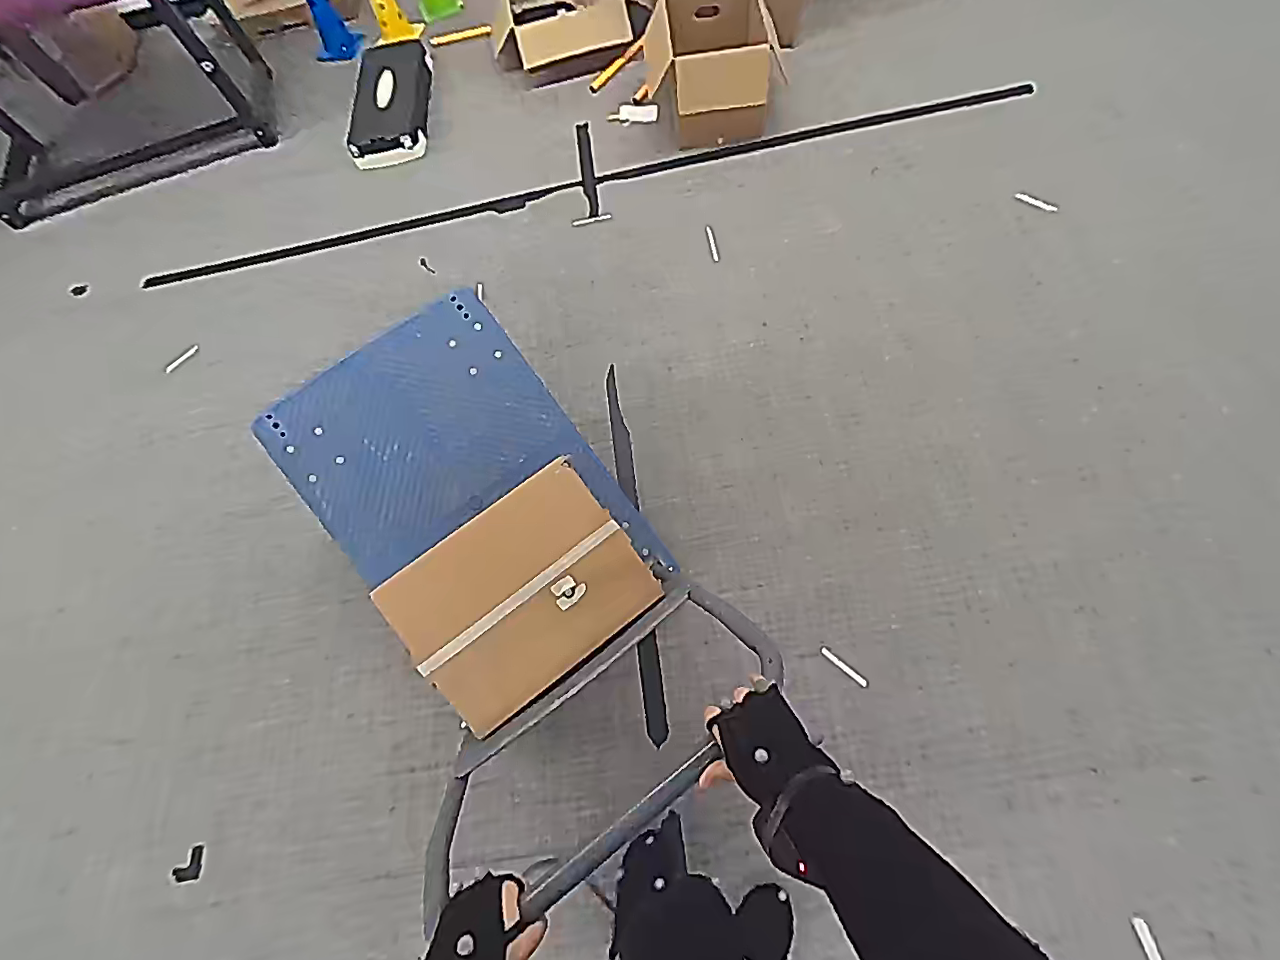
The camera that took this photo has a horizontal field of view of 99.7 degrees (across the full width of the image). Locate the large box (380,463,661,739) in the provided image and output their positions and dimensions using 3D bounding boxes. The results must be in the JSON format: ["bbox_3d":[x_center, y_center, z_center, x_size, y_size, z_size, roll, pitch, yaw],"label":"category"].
[{"bbox_3d":[-0.225,0.224,1.102,0.408,0.320,0.320,-38,91,-10],"label":"large box"}]
